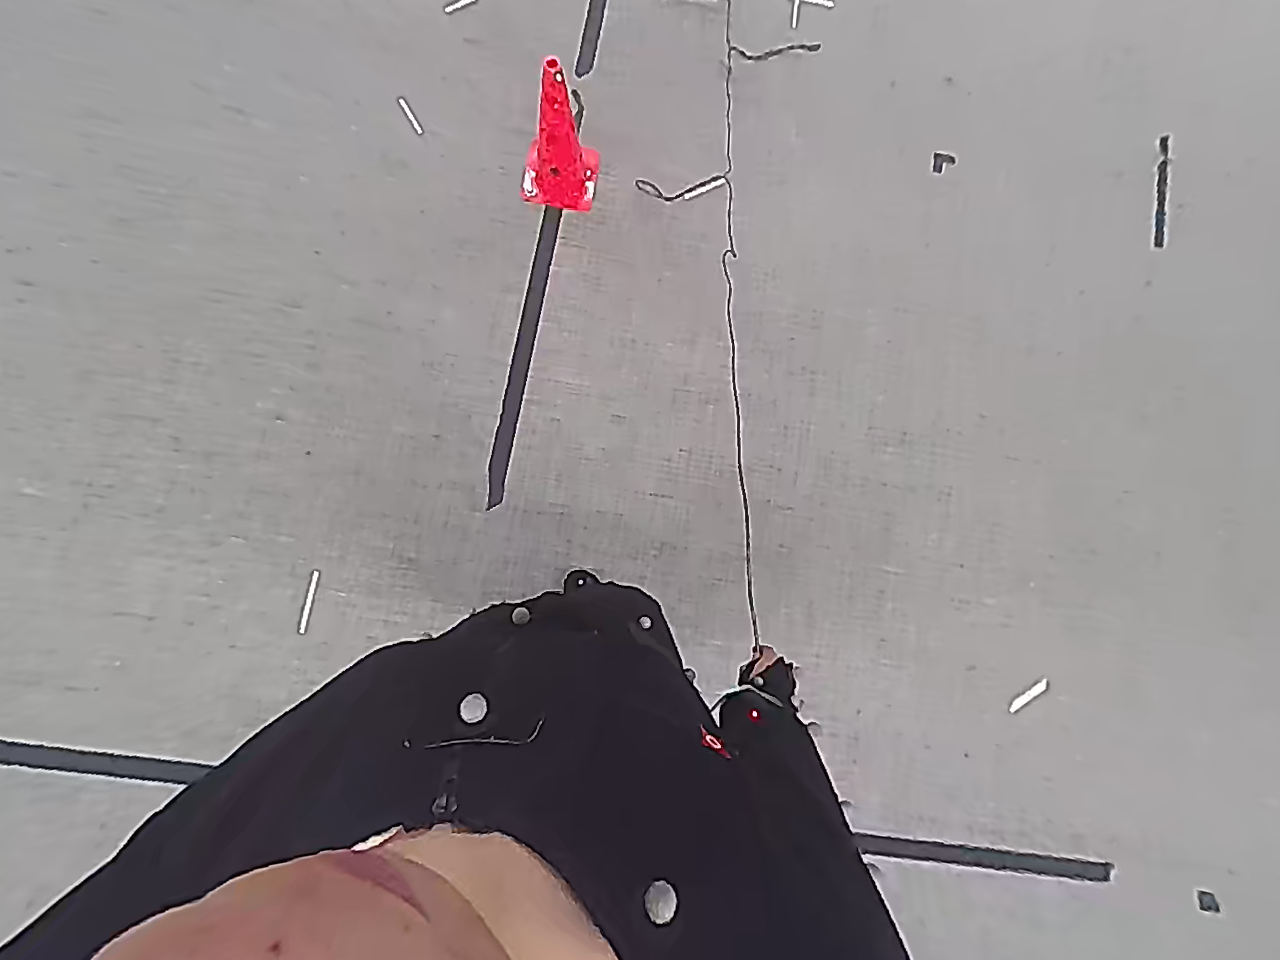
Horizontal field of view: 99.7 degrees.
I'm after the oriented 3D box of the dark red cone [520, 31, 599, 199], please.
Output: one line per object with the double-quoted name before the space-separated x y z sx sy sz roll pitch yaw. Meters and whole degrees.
"dark red cone" -0.203 -0.908 1.339 0.201 0.394 0.202 9 81 -5
